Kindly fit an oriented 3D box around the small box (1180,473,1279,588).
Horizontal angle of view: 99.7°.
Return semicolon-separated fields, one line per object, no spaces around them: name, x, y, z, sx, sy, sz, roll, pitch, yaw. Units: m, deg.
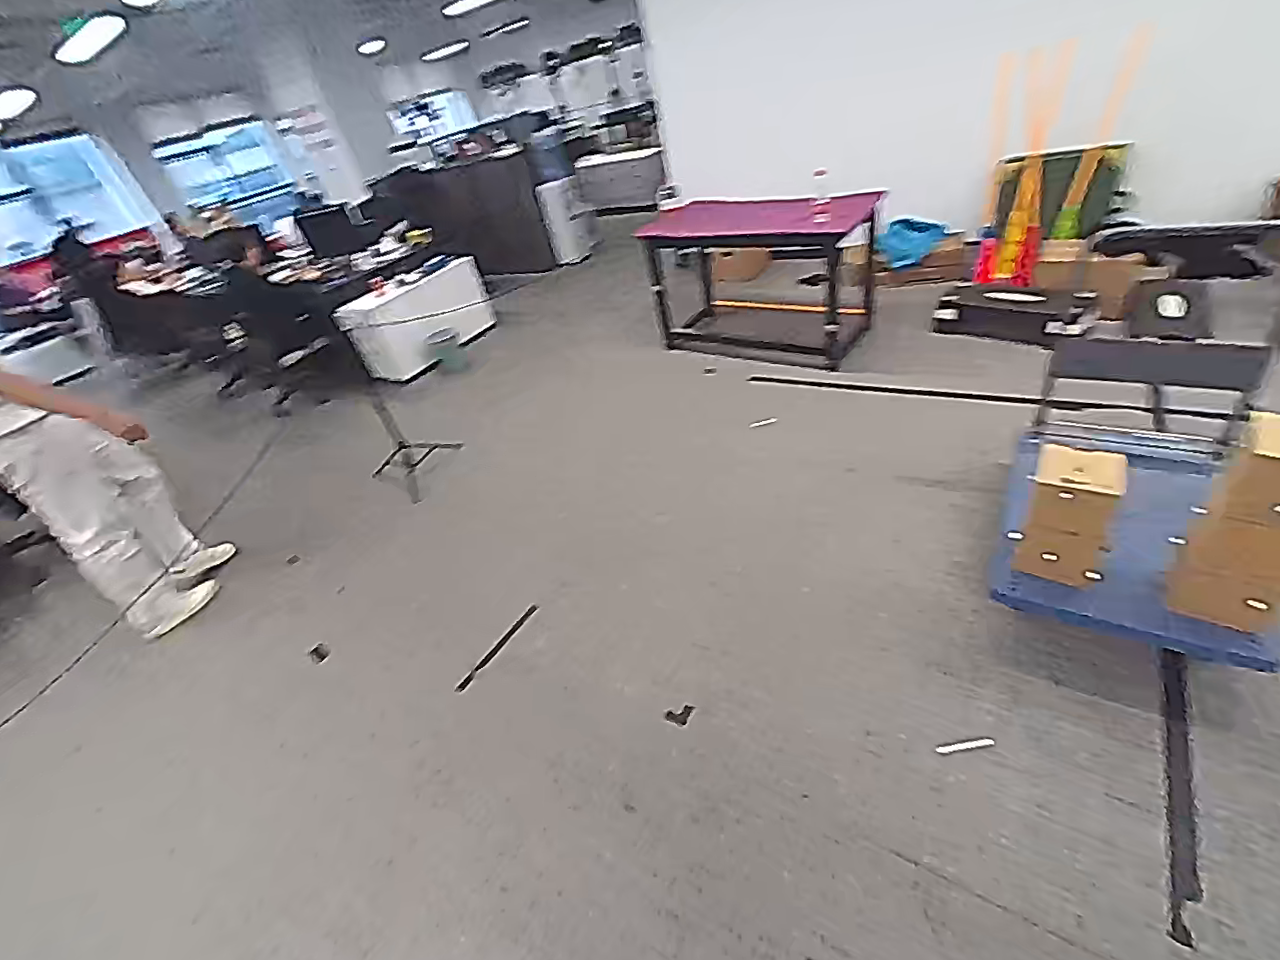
small box;1.371;0.114;1.223;0.179;0.176;0.168;18;48;35

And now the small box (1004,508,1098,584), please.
small box;1.147;0.162;1.507;0.179;0.176;0.168;16;46;35

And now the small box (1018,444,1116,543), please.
small box;1.111;0.033;1.411;0.168;0.176;0.179;14;45;33

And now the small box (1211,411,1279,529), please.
small box;1.340;-0.015;1.125;0.168;0.176;0.179;19;48;36
